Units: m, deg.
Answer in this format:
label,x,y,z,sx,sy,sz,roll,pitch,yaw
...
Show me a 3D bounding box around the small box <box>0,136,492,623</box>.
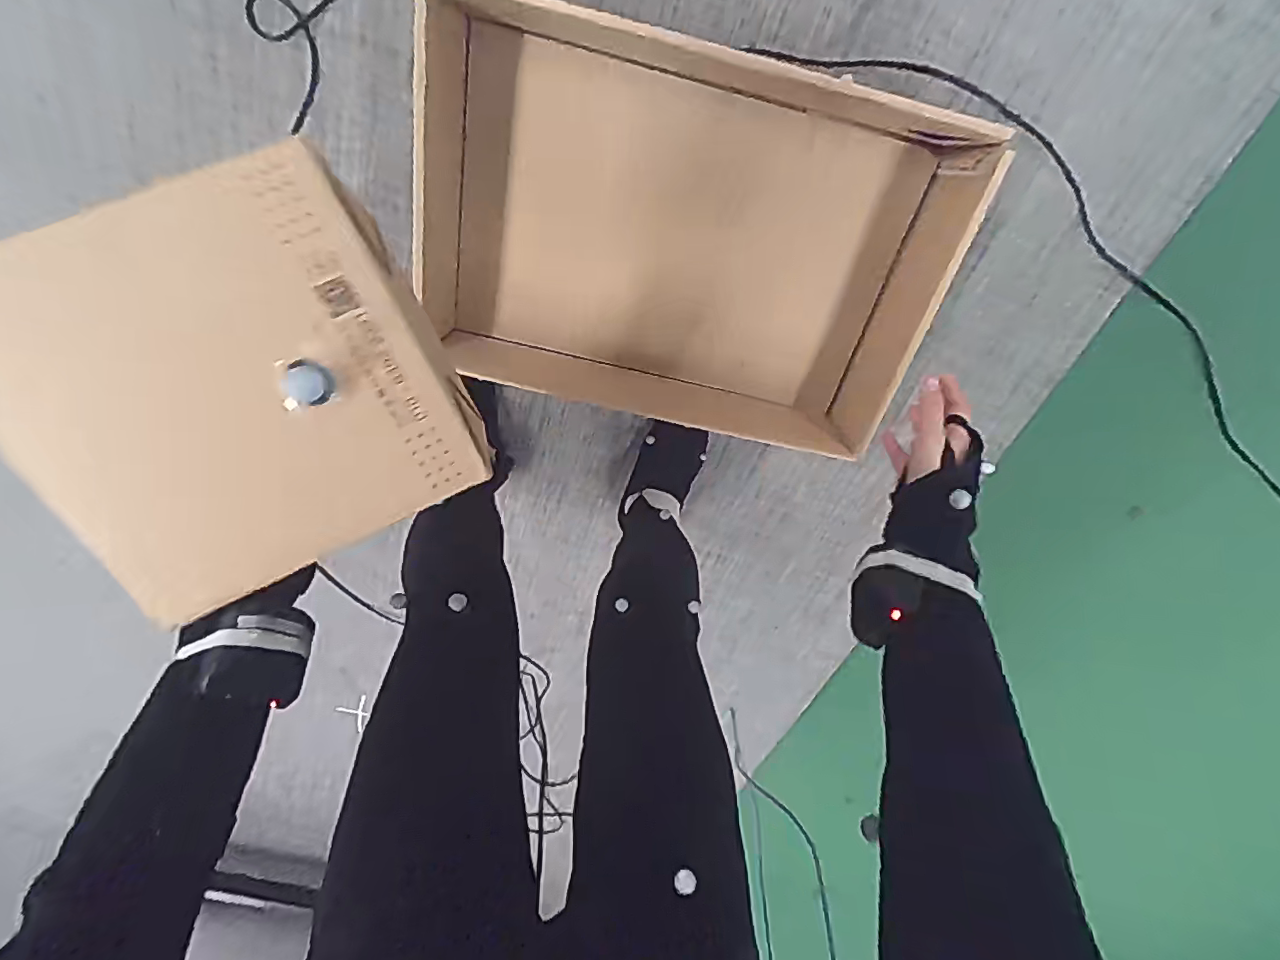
label,x,y,z,sx,sy,sz,roll,pitch,yaw
small box,-0.198,-0.059,0.311,0.176,0.179,0.168,-28,111,-9
